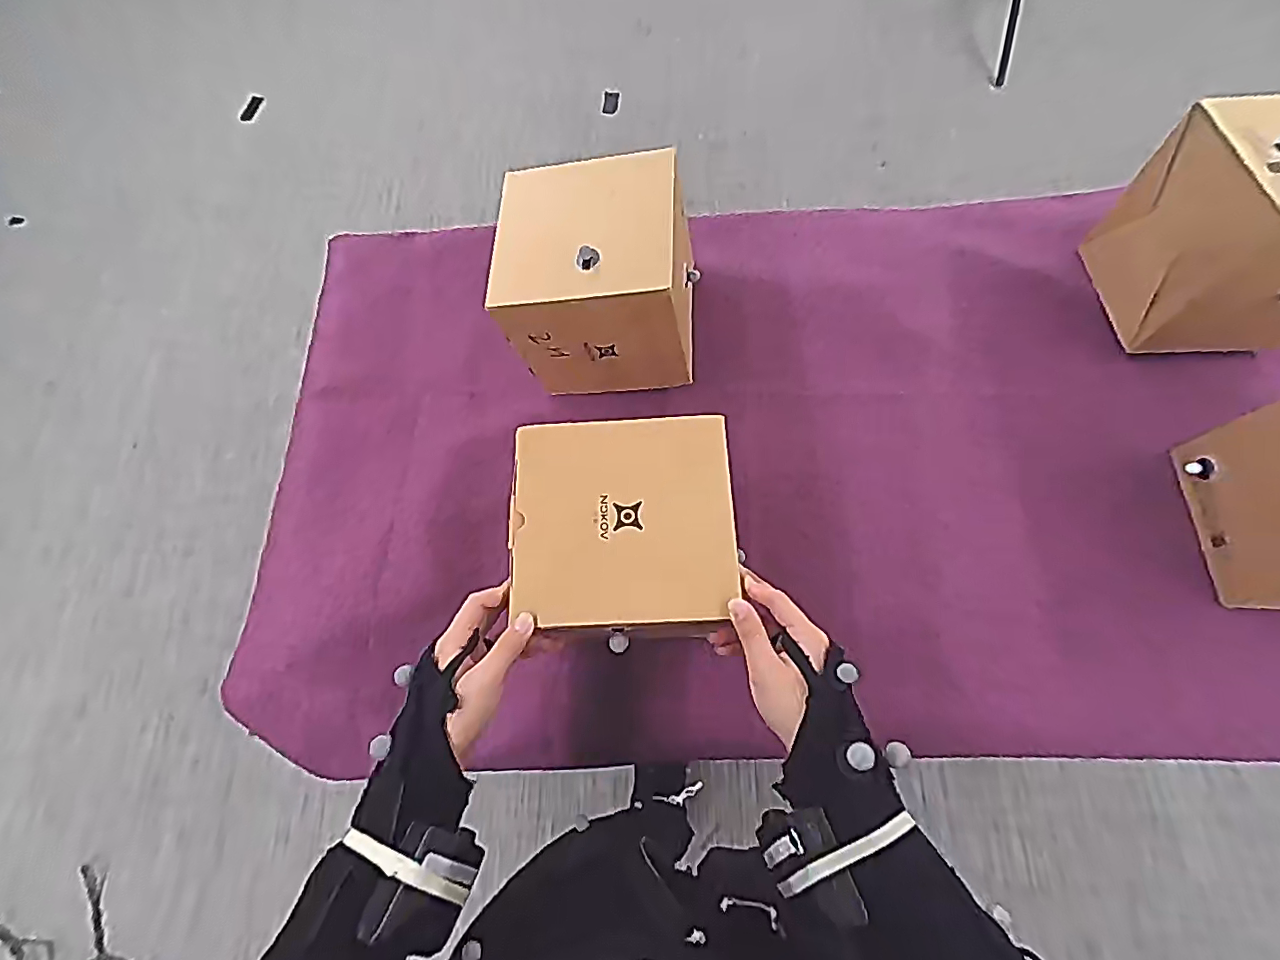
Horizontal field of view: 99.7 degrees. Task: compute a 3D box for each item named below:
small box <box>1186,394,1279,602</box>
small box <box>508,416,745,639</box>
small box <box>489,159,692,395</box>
[{"bbox_3d":[0.636,0.012,0.463,0.179,0.176,0.168,0,69,4],"label":"small box"},{"bbox_3d":[-0.009,0.054,0.494,0.179,0.176,0.168,-3,70,2],"label":"small box"},{"bbox_3d":[-0.039,-0.208,0.575,0.179,0.168,0.176,-2,69,11],"label":"small box"}]
